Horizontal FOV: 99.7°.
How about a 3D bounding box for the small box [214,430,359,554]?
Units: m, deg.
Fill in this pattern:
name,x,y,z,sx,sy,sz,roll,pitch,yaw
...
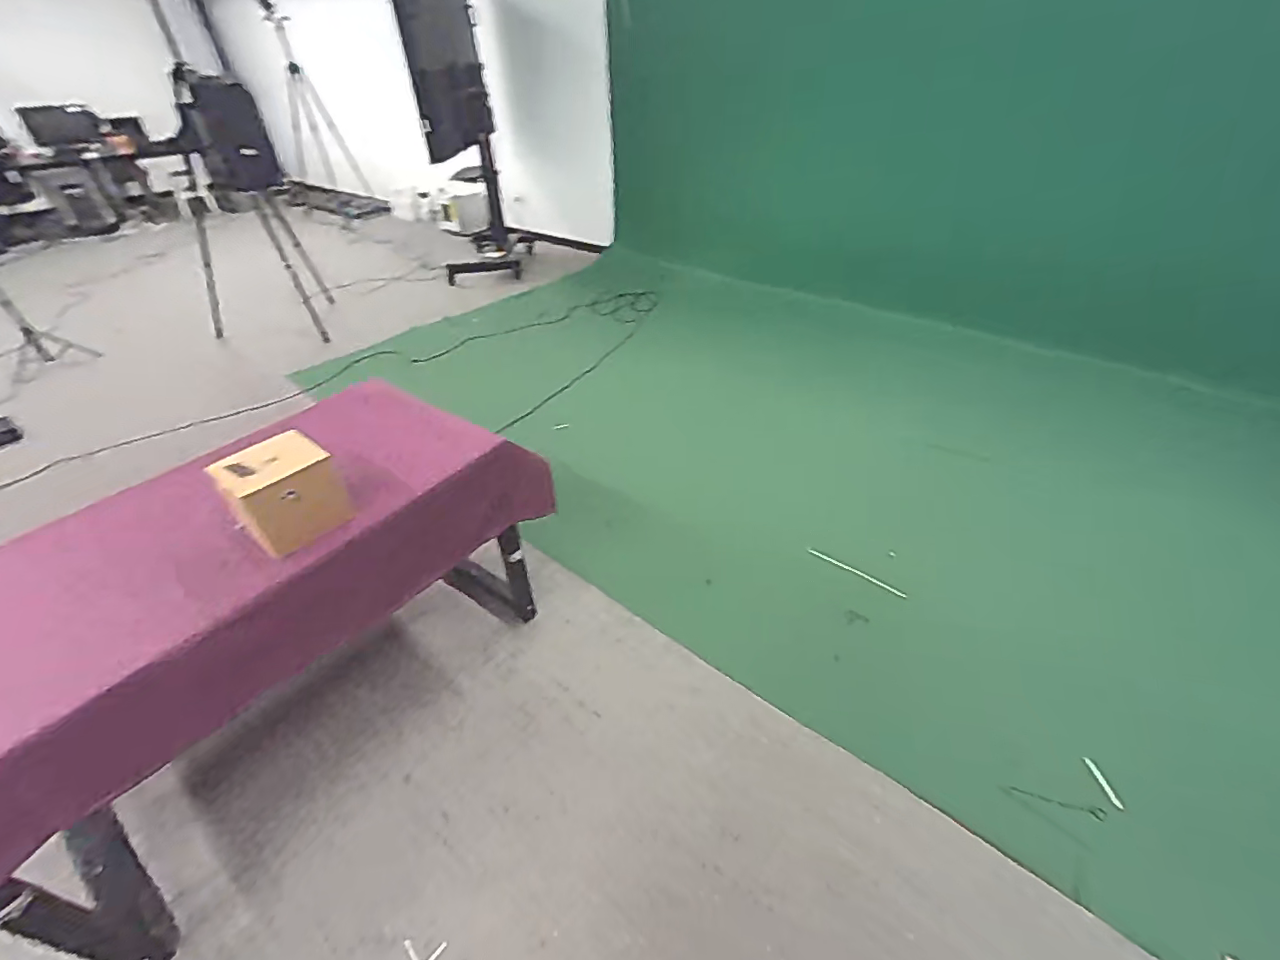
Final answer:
name,x,y,z,sx,sy,sz,roll,pitch,yaw
small box,-0.739,0.026,1.146,0.168,0.176,0.179,25,45,30
